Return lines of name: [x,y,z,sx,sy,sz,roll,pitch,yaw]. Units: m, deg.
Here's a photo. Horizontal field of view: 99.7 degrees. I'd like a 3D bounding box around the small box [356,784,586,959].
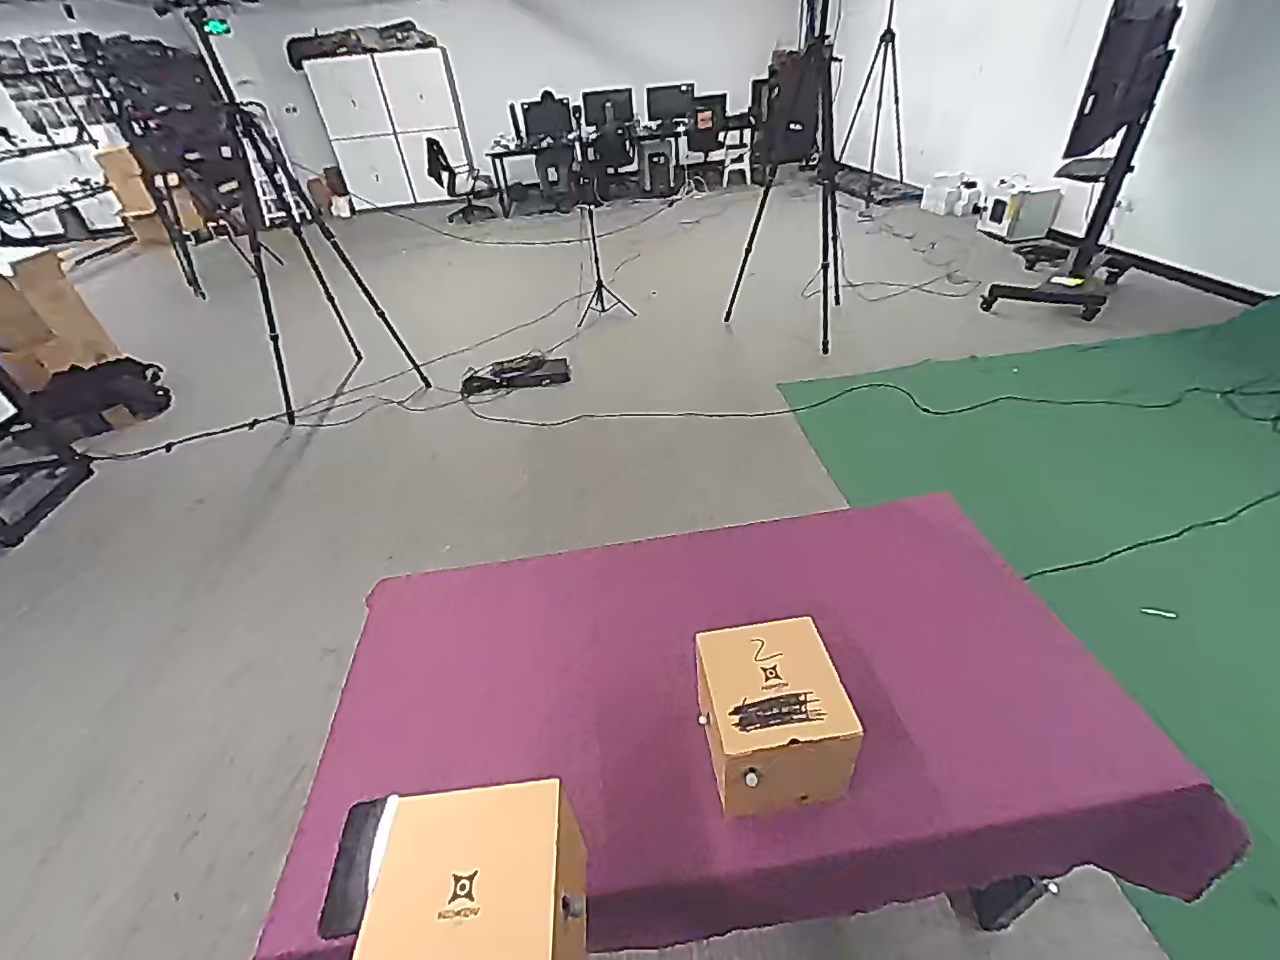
small box: [-0.146,0.426,0.519,0.168,0.176,0.179,-7,38,0]
